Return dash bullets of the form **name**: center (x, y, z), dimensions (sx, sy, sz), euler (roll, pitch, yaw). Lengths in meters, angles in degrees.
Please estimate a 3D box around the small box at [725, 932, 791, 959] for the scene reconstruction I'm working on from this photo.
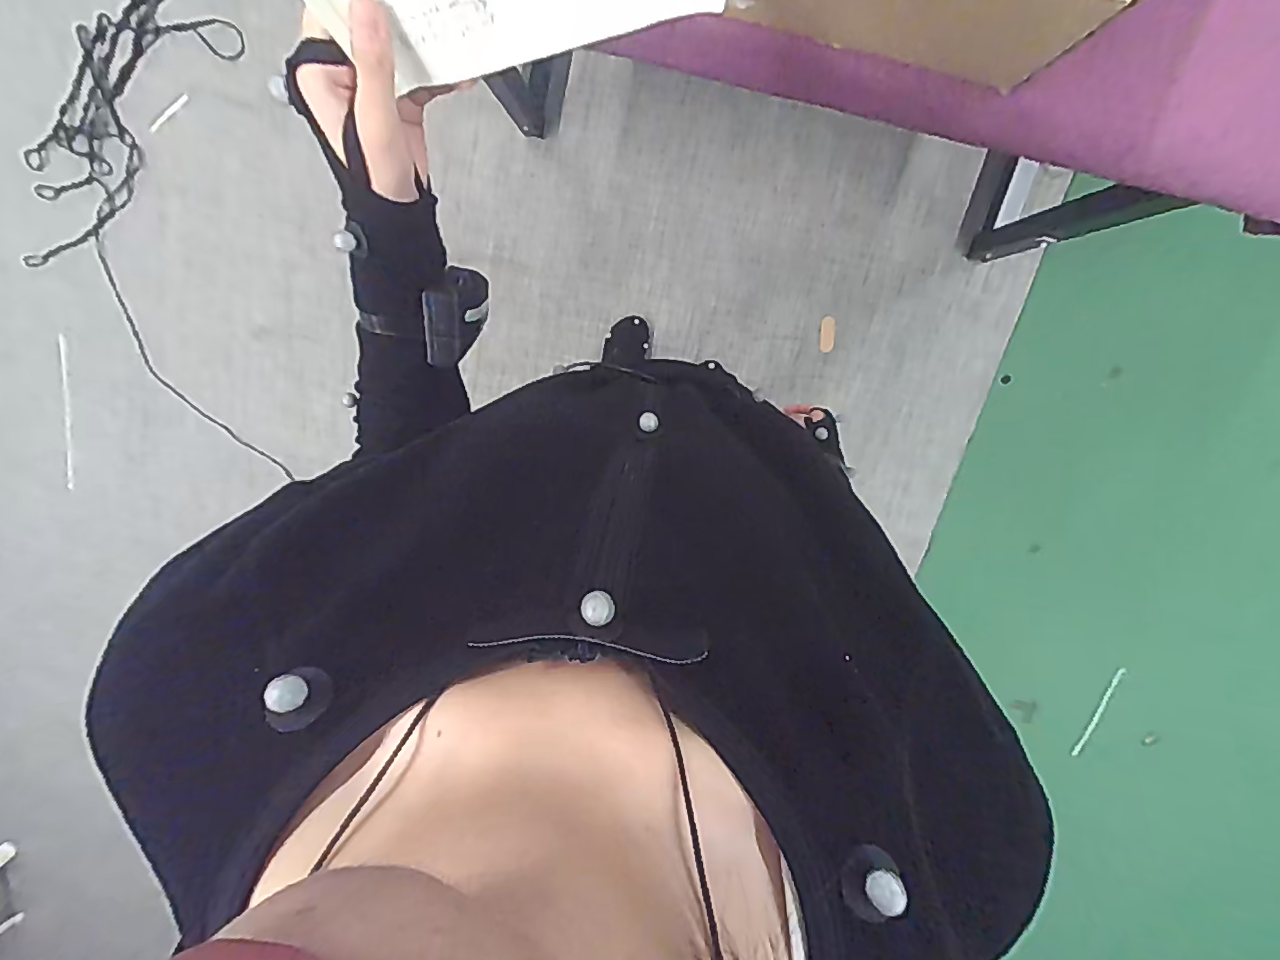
- **small box**: center (0.310, 1.321, 1.398), dimensions (0.168, 0.176, 0.179), euler (1, 103, 4)

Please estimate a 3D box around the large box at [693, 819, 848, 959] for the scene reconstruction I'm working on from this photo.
- **large box**: center (0.368, 1.279, 1.635), dimensions (0.408, 0.320, 0.320), euler (0, 104, 3)

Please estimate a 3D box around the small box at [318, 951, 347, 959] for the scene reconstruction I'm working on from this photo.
- **small box**: center (-0.777, 1.295, 1.297), dimensions (0.179, 0.176, 0.168), euler (-41, 97, 13)
